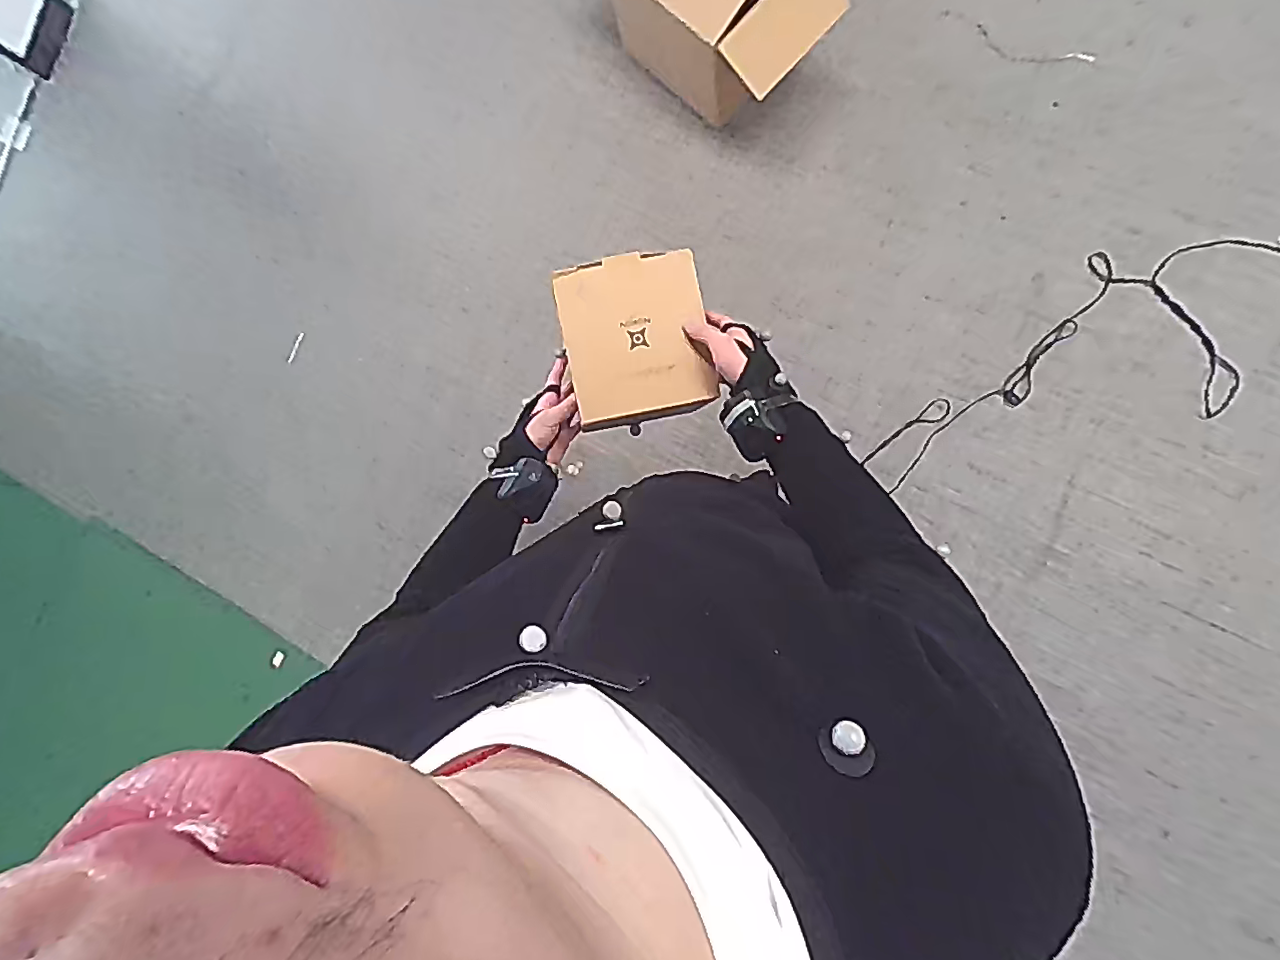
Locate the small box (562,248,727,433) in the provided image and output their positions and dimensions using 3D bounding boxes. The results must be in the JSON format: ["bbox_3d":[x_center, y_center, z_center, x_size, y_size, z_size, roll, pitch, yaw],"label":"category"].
[{"bbox_3d":[-0.001,-0.161,0.676,0.168,0.176,0.179,-9,91,-4],"label":"small box"}]
